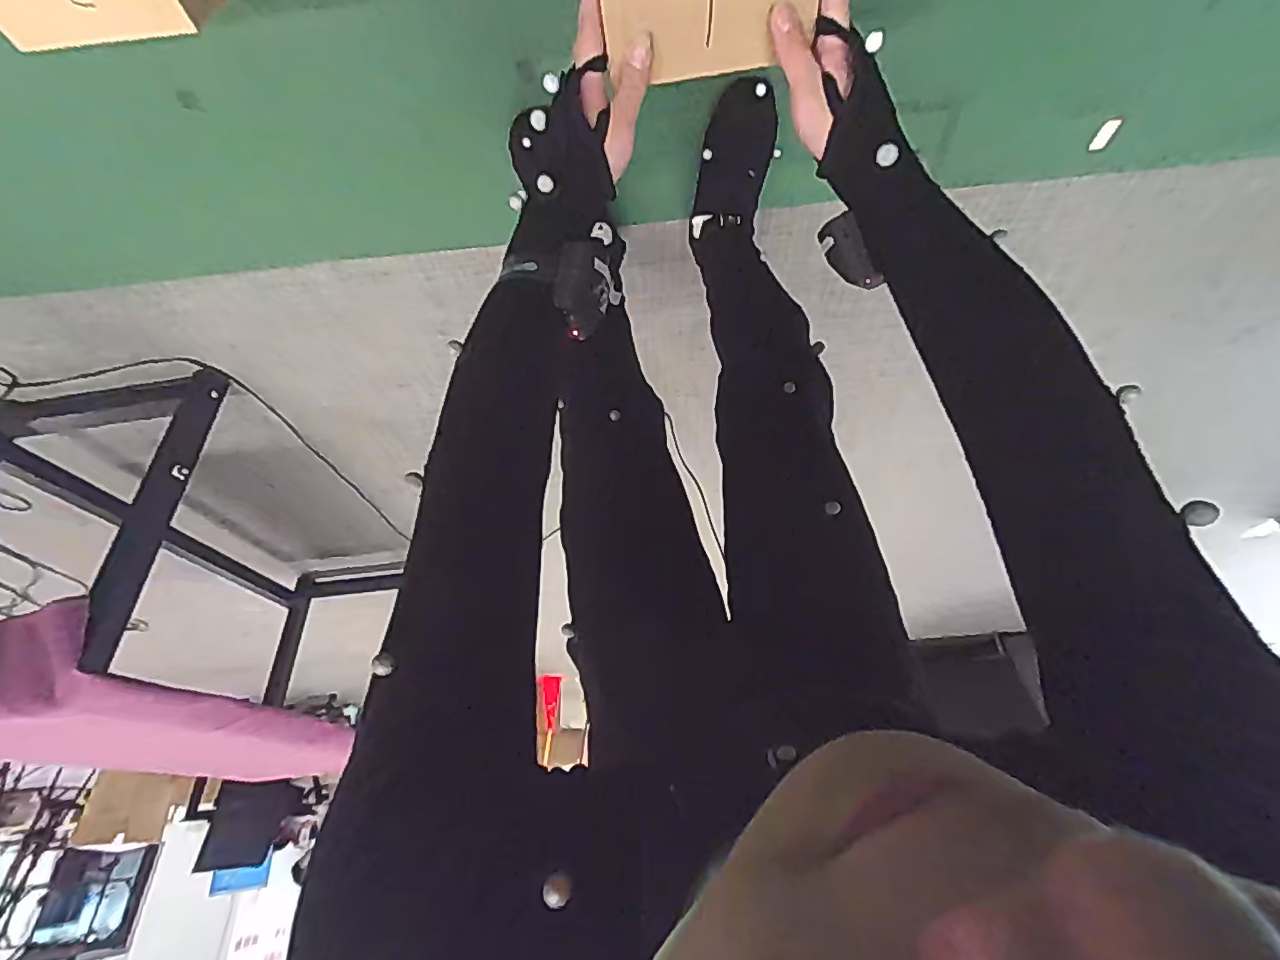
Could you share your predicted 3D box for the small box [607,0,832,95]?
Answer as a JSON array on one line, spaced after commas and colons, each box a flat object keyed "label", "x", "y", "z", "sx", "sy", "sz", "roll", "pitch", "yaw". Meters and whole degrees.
[{"label": "small box", "x": 0.050, "y": -0.437, "z": 0.409, "sx": 0.168, "sy": 0.176, "sz": 0.179, "roll": -7, "pitch": 149, "yaw": 3}]
